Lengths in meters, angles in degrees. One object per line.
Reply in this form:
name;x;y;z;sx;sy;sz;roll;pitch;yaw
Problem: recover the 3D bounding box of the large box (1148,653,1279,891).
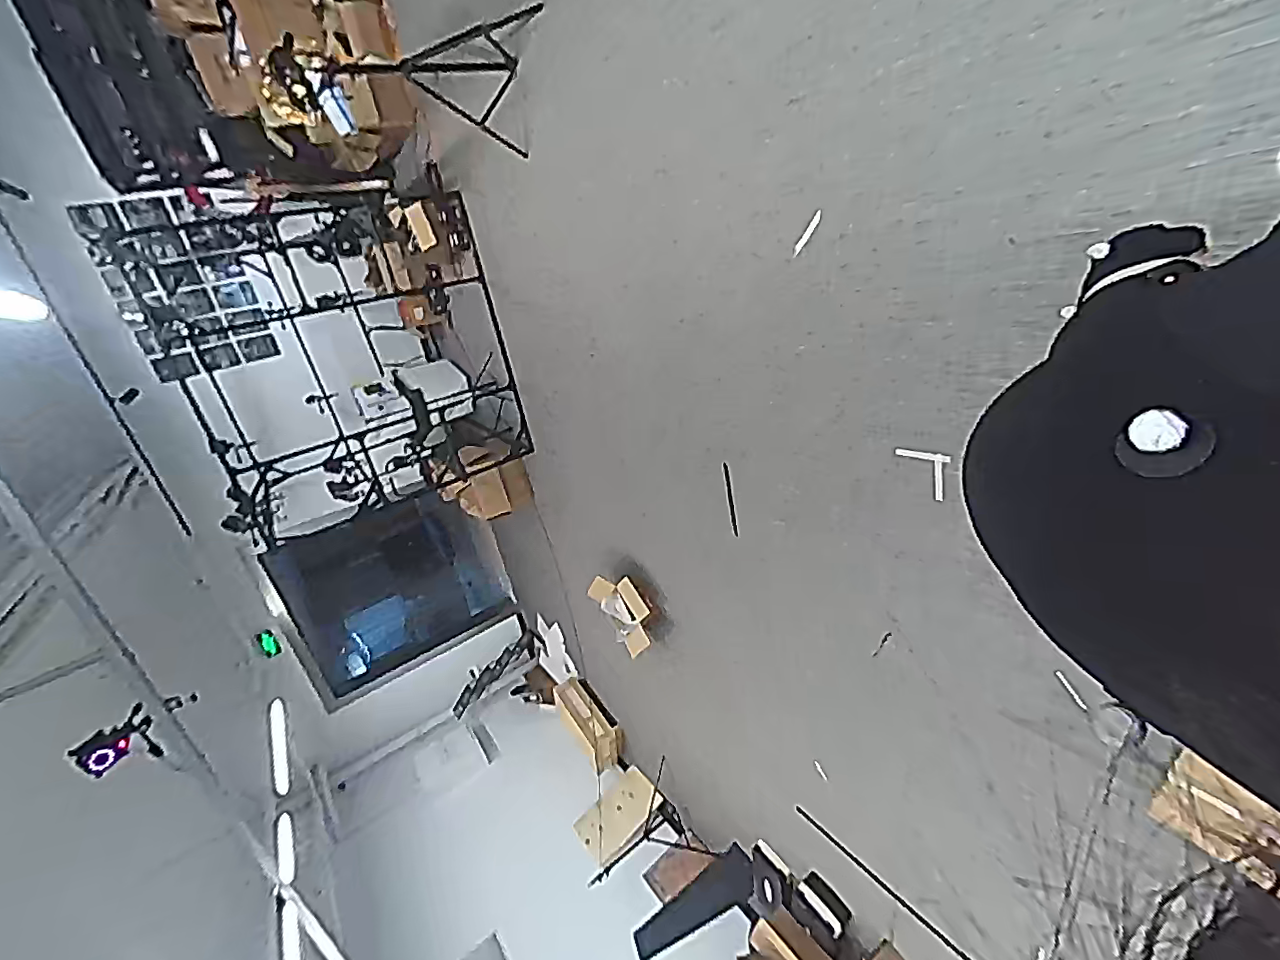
large box;1.383;0.637;1.097;0.408;0.320;0.320;30;137;47
